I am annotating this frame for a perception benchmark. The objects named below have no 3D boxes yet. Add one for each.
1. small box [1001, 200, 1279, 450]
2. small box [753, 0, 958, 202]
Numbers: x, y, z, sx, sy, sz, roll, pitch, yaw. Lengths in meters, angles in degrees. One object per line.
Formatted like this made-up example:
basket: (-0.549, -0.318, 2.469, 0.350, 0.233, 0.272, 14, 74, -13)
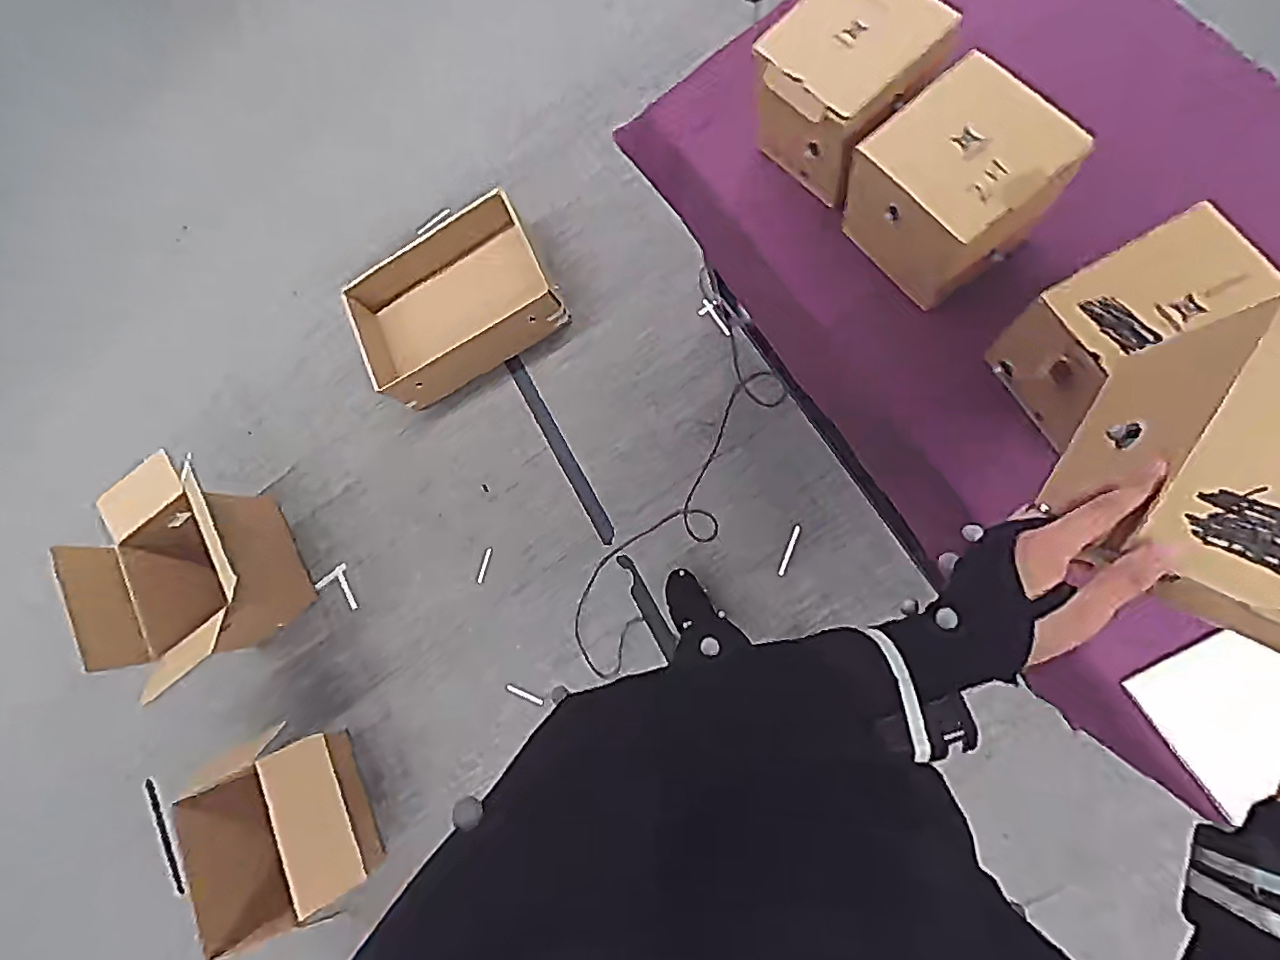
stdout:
small box: (0.540, -0.152, 0.597, 0.179, 0.176, 0.168, -30, 75, 8)
small box: (0.275, -0.522, 0.726, 0.179, 0.176, 0.168, -41, 75, 5)
